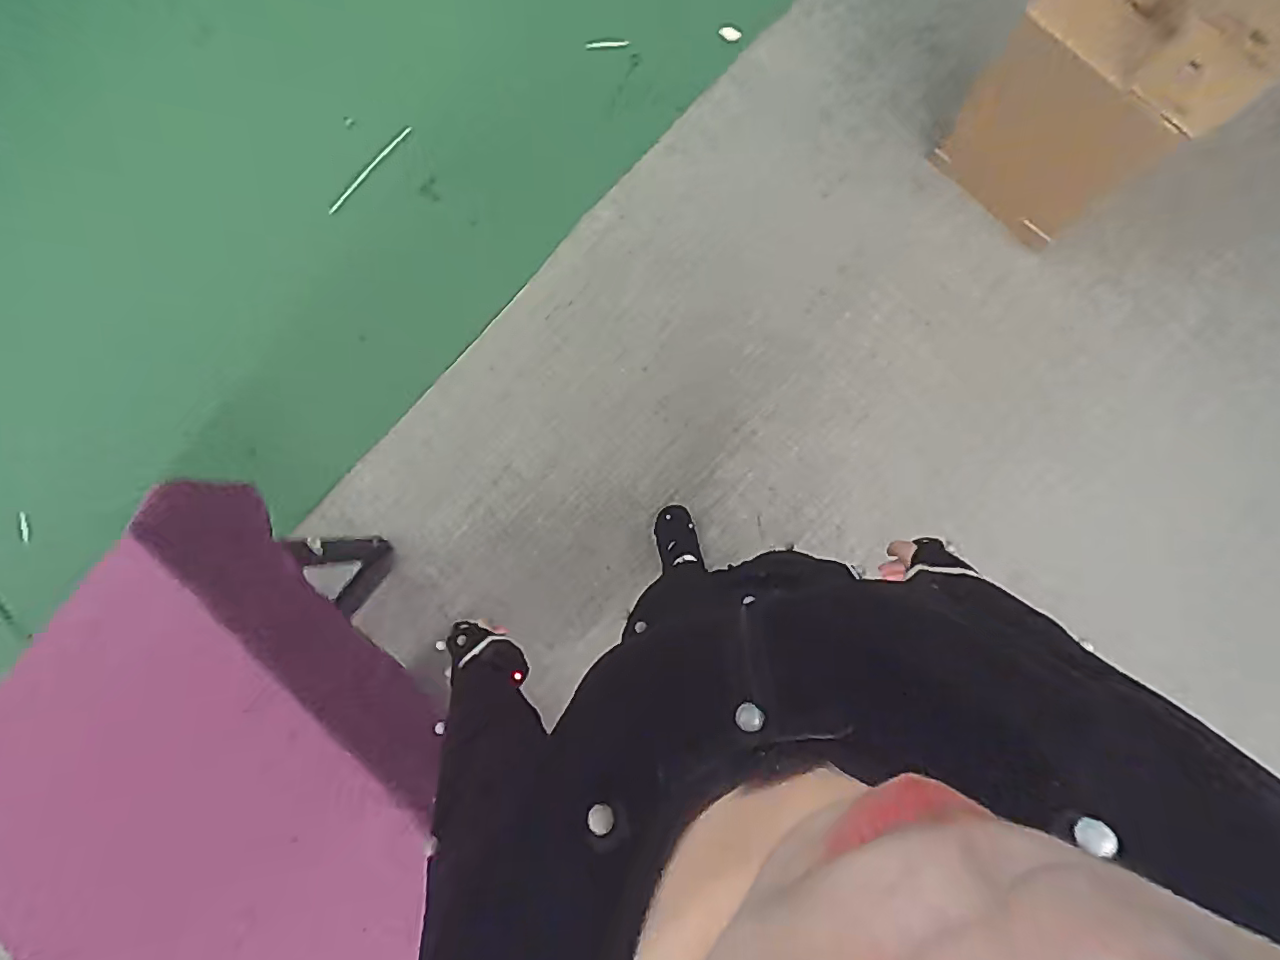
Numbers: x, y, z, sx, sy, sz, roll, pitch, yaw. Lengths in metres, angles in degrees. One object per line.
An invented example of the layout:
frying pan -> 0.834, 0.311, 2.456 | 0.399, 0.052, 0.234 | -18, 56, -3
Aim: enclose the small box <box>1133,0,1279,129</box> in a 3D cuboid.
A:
small box -> 1.048, -0.784, 0.963 | 0.179, 0.176, 0.168 | -45, 83, 0
